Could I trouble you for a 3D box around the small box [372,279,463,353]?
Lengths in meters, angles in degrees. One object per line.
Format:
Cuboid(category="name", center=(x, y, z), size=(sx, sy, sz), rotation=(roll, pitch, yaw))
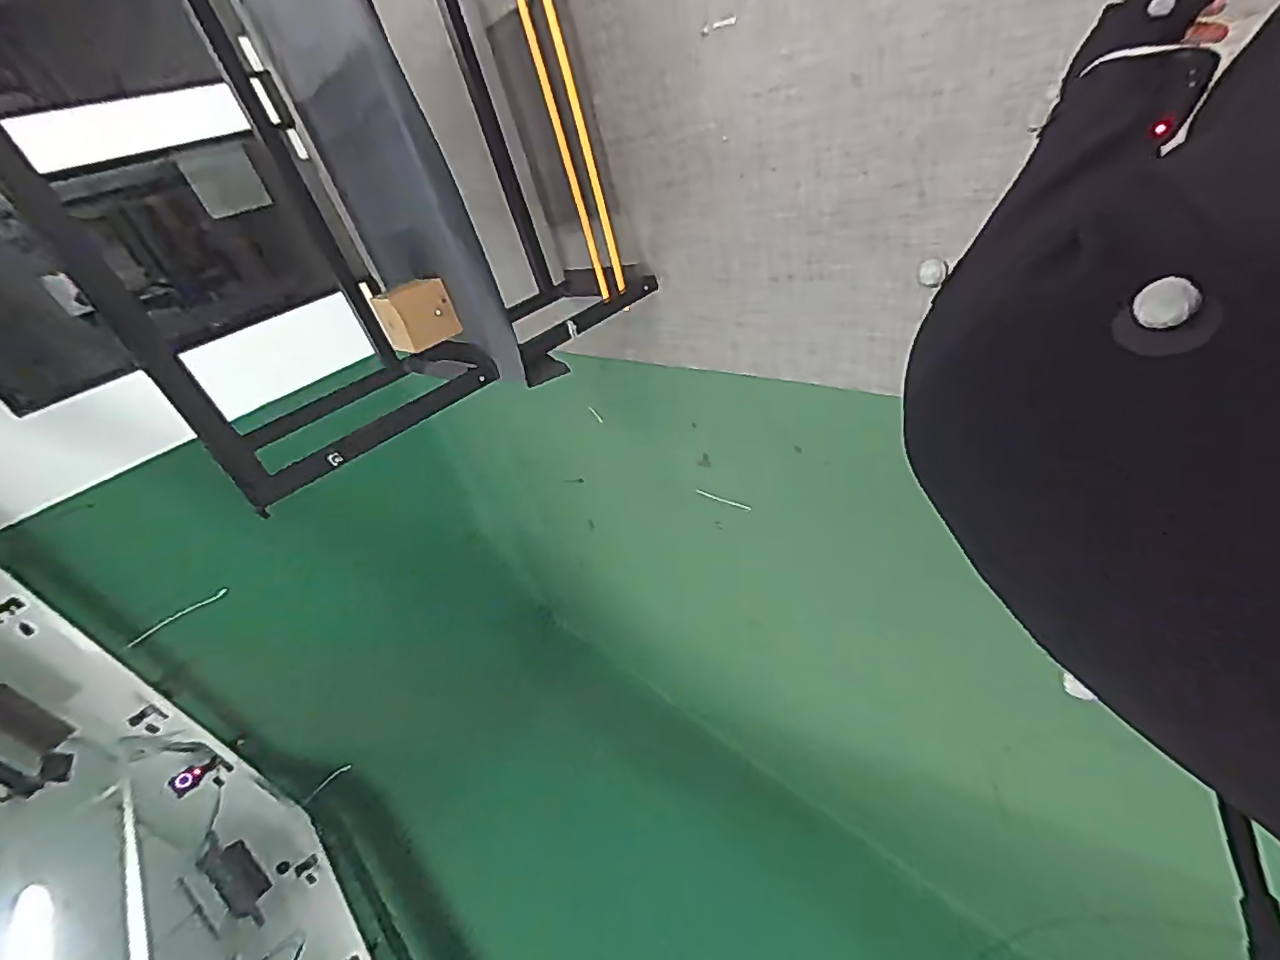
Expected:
Cuboid(category="small box", center=(-0.673, -0.504, 1.648), size=(0.179, 0.176, 0.168), rotation=(18, 137, 43))
